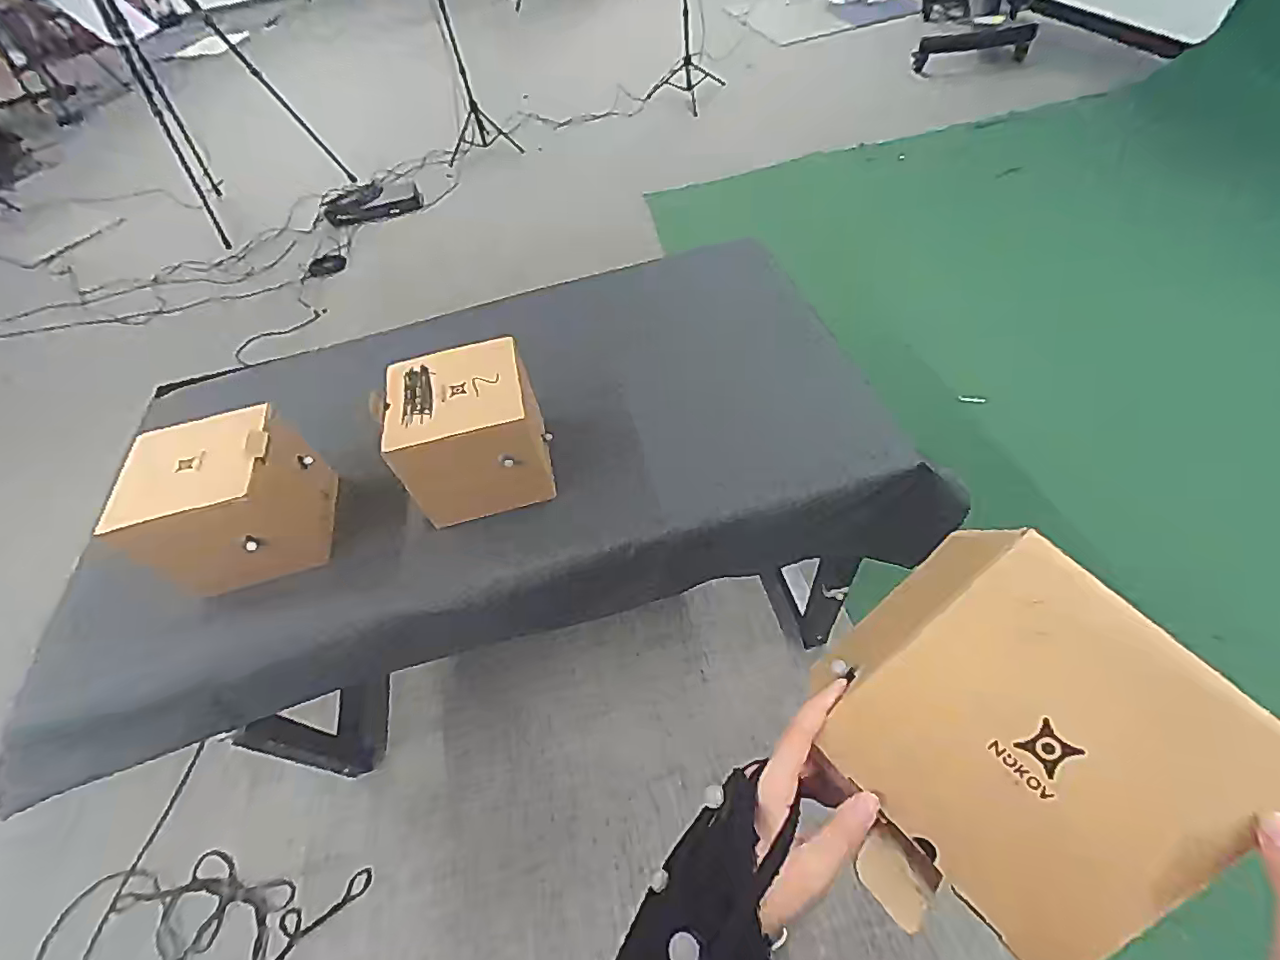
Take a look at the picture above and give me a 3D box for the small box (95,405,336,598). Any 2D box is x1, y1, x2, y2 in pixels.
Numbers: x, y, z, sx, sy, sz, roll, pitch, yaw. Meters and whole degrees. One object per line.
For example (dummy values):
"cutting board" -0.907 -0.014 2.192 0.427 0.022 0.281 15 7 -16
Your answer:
"small box" -0.538 0.032 0.721 0.179 0.176 0.168 -16 51 -3
